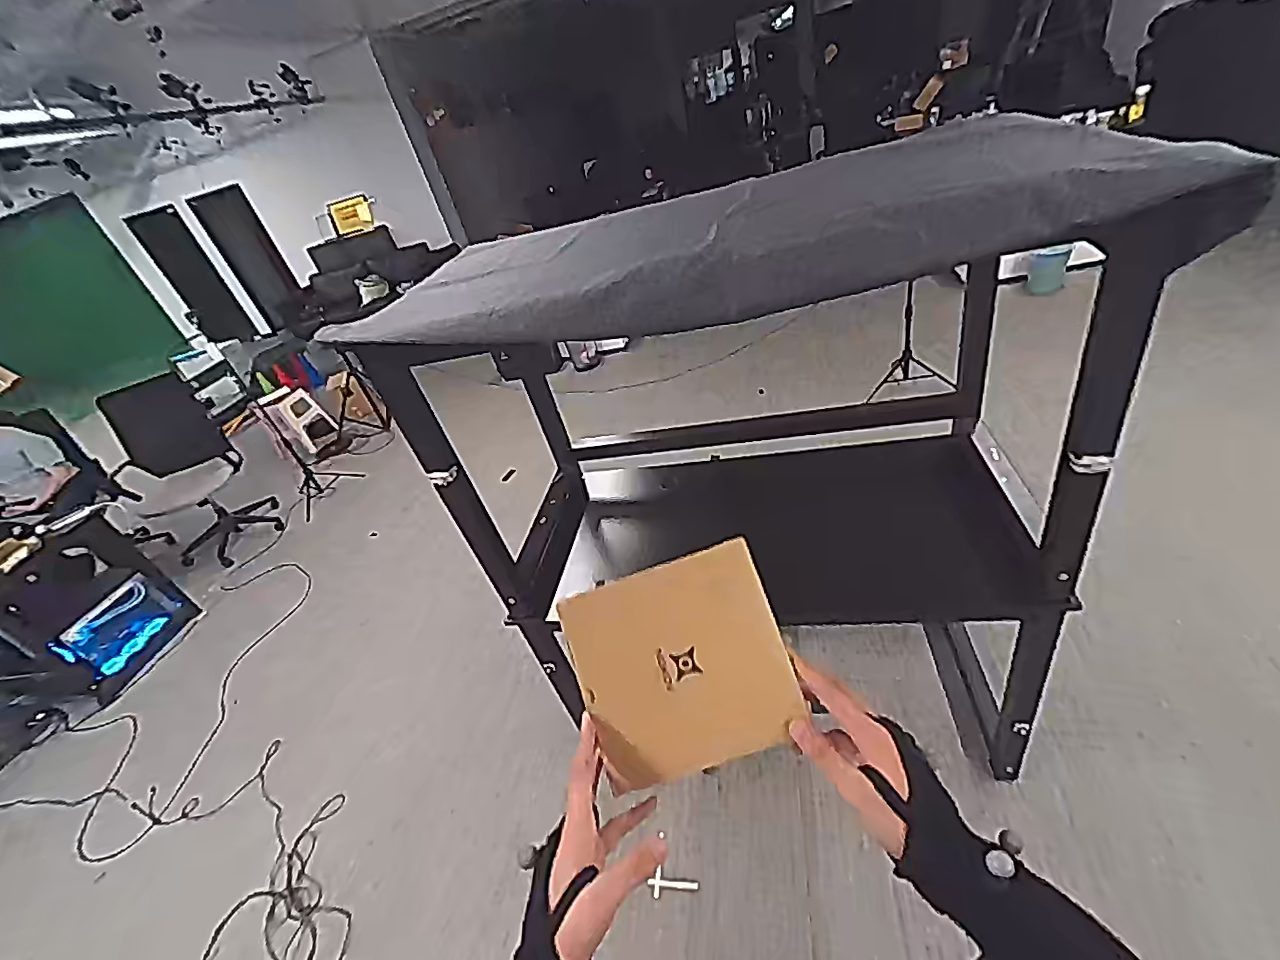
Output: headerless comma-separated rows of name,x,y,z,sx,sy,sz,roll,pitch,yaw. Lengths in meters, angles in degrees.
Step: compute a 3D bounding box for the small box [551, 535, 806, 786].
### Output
small box,0.036,0.158,0.530,0.179,0.168,0.176,-20,-9,3
